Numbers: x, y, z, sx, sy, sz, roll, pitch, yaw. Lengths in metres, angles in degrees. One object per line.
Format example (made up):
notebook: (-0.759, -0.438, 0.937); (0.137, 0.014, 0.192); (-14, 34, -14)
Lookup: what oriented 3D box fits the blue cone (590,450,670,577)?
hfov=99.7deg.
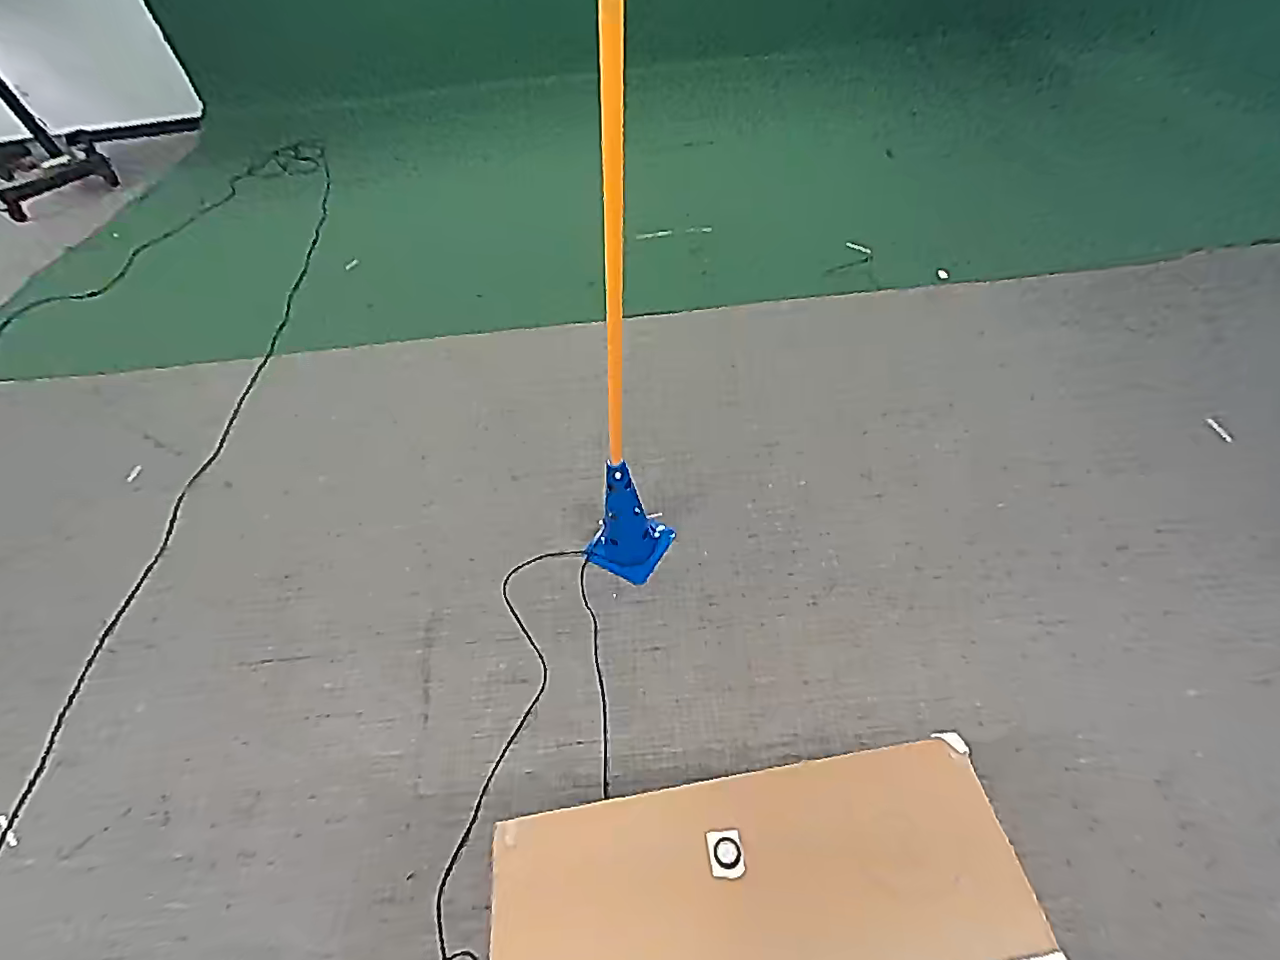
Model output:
blue cone: (-0.039, 0.061, 1.371); (0.192, 0.380, 0.193); (22, 55, 21)
